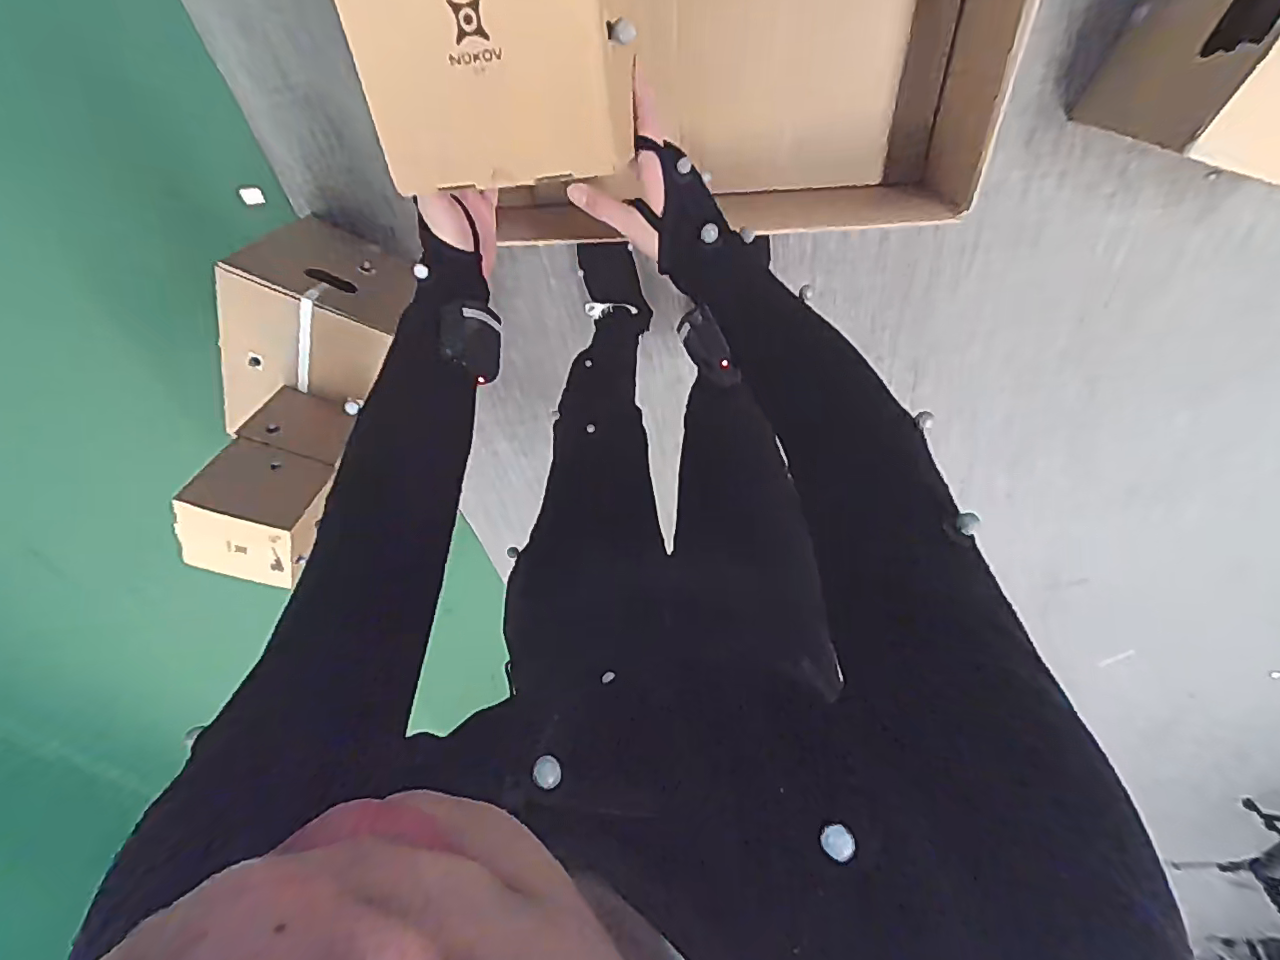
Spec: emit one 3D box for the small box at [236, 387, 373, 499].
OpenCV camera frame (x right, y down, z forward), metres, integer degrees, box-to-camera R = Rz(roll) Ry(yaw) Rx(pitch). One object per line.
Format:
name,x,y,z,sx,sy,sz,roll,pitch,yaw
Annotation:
small box,-0.663,-0.060,1.079,0.179,0.176,0.168,19,130,-15

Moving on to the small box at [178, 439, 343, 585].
small box,-0.660,0.051,0.958,0.179,0.176,0.168,20,129,-13

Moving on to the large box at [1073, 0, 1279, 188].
large box,0.997,-0.629,0.794,0.408,0.320,0.320,12,131,-5

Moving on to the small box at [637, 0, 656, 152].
small box,-0.073,-0.429,0.530,0.168,0.176,0.179,1,128,7

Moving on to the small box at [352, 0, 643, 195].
small box,-0.090,-0.330,0.403,0.168,0.176,0.179,-2,128,7
